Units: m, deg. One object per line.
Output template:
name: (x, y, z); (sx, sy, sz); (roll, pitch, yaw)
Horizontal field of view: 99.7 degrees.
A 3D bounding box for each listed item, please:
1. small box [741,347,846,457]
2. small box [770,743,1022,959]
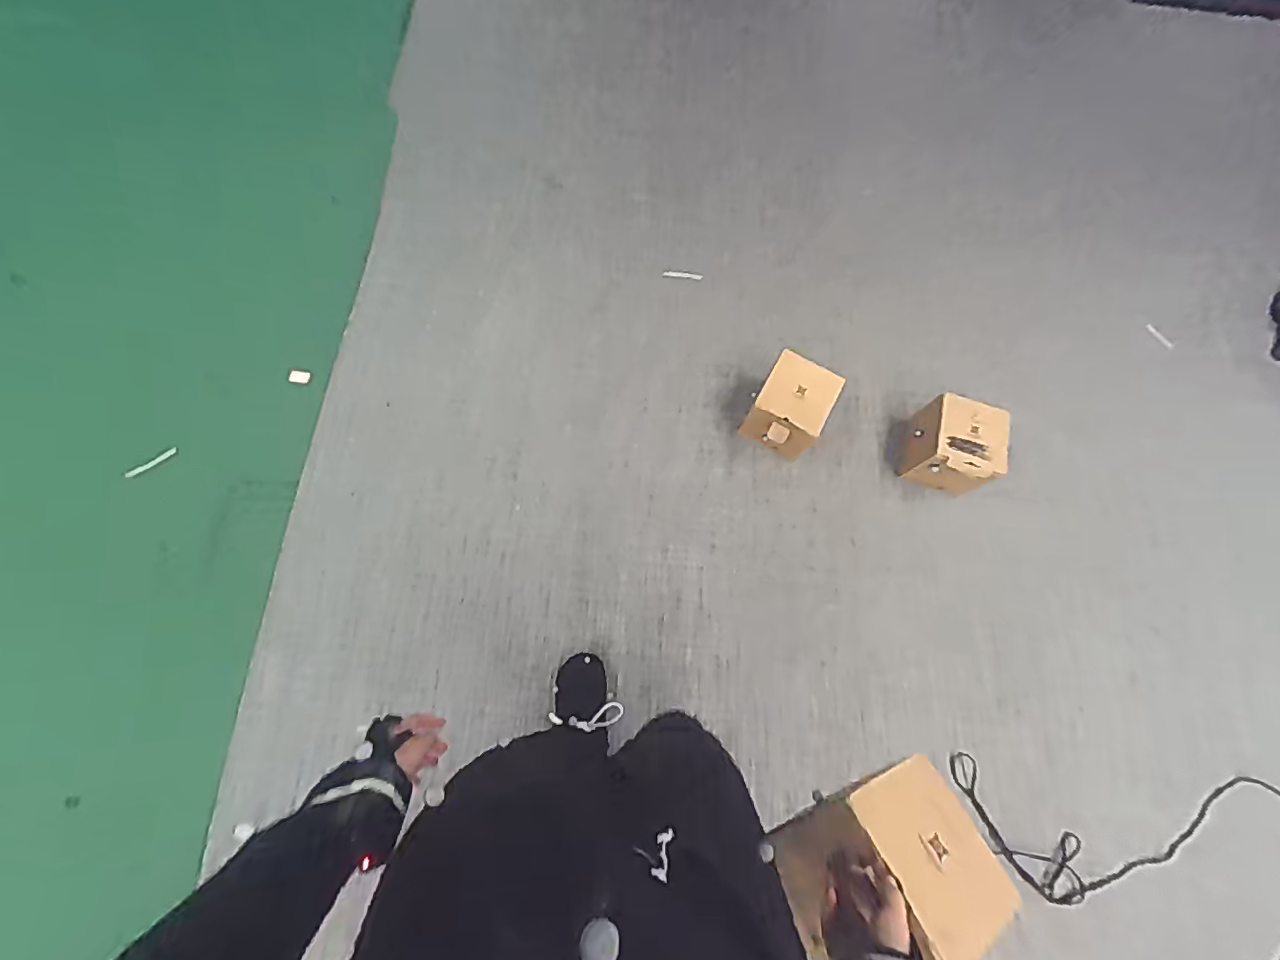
small box: (0.368, -0.185, 1.326); (0.168, 0.176, 0.179); (29, 73, 4)
small box: (0.274, 0.435, 0.615); (0.179, 0.176, 0.168); (2, 48, -40)
